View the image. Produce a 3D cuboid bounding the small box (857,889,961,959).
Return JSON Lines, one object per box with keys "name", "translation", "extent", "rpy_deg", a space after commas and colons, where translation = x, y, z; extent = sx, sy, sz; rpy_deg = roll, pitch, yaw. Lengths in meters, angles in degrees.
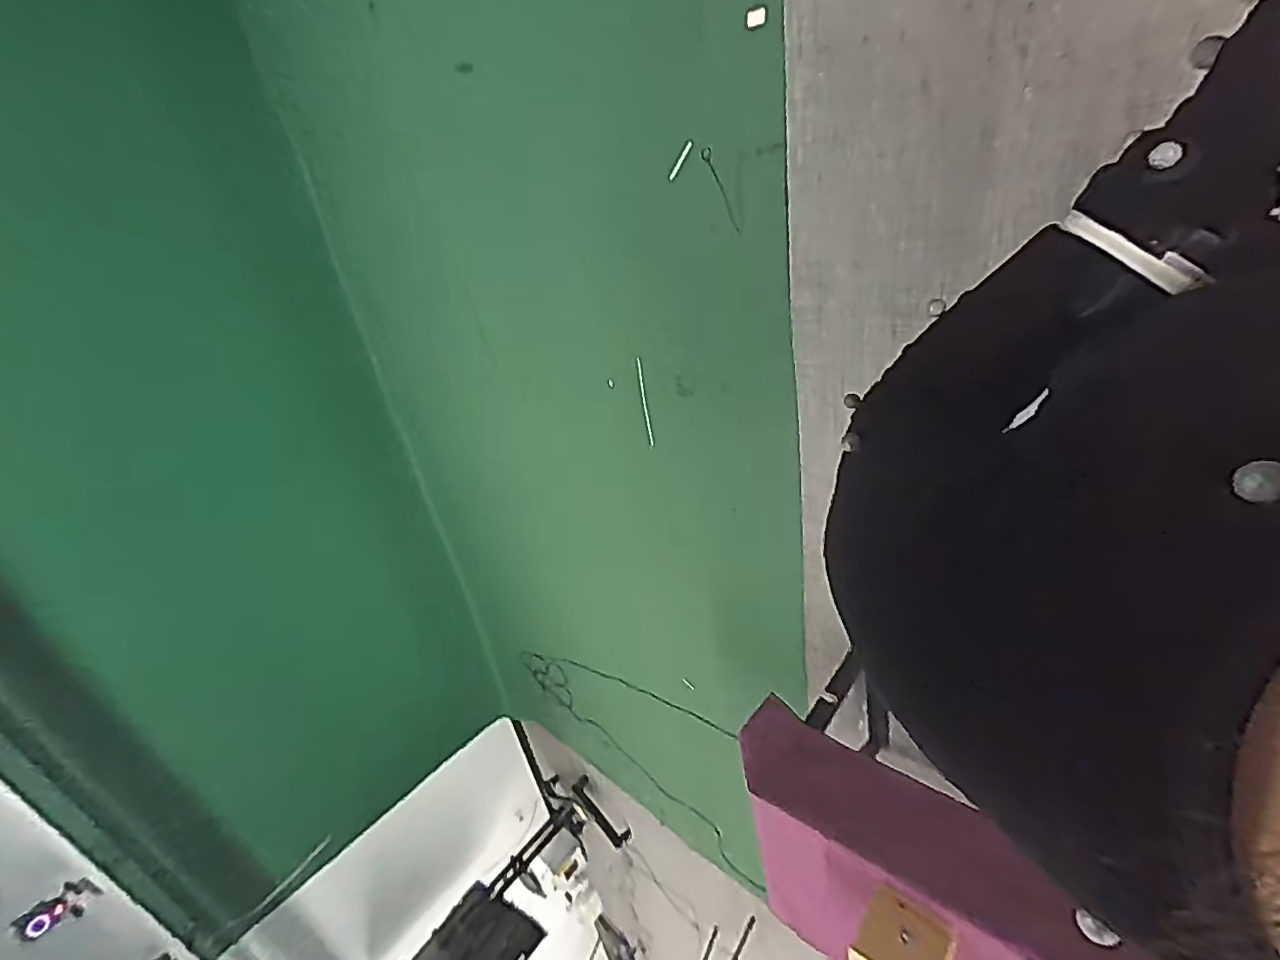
{"name": "small box", "translation": [0.590, 1.061, 1.187], "extent": [0.168, 0.176, 0.179], "rpy_deg": [12, 125, 41]}
